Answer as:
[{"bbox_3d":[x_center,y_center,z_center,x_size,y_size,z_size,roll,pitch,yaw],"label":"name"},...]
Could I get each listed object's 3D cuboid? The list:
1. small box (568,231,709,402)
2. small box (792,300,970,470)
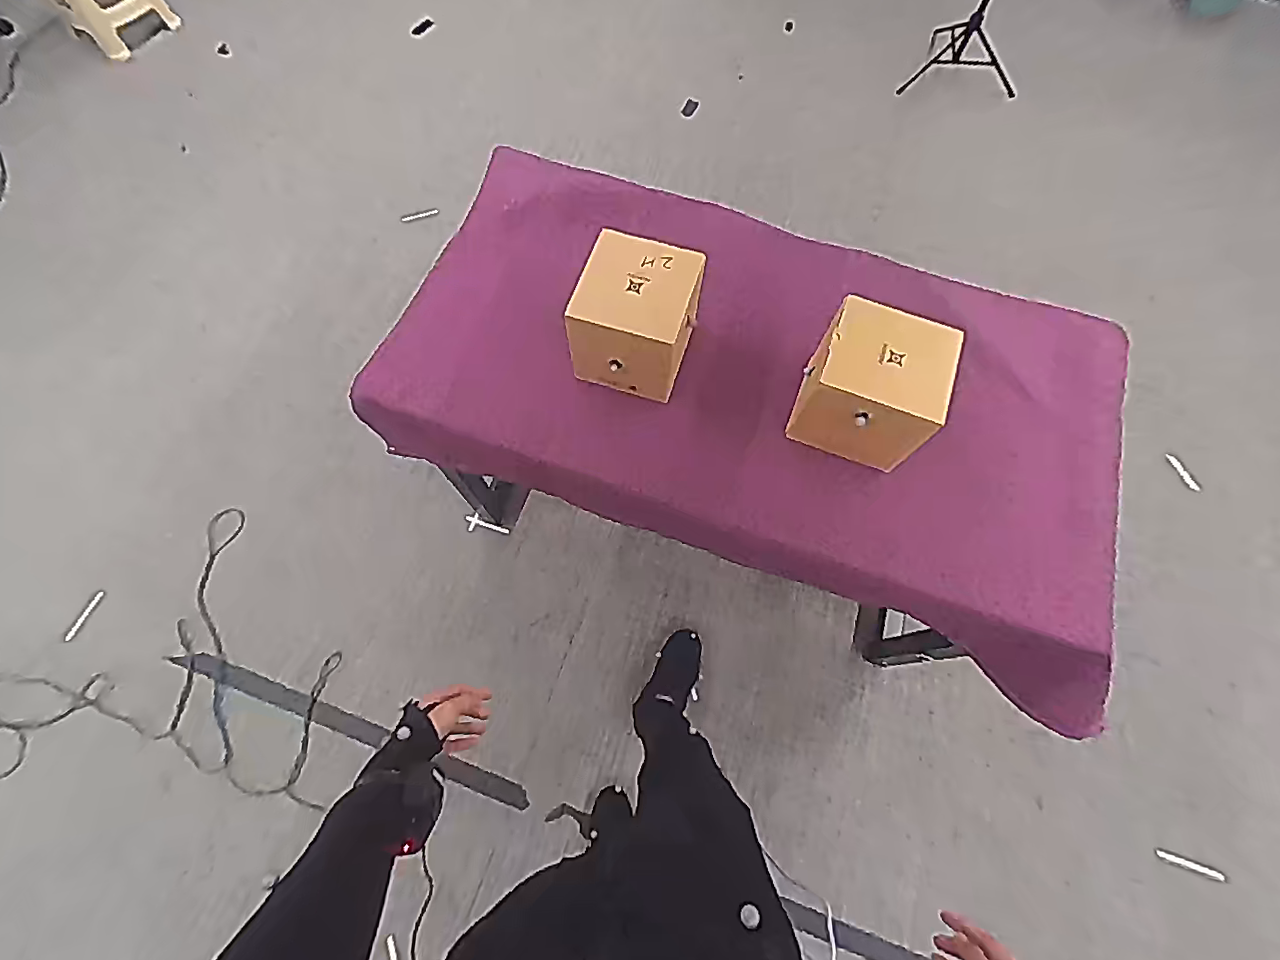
[{"bbox_3d":[0.001,-0.250,0.857,0.168,0.176,0.179,18,69,5],"label":"small box"},{"bbox_3d":[0.355,-0.133,0.819,0.179,0.176,0.168,21,70,8],"label":"small box"}]
